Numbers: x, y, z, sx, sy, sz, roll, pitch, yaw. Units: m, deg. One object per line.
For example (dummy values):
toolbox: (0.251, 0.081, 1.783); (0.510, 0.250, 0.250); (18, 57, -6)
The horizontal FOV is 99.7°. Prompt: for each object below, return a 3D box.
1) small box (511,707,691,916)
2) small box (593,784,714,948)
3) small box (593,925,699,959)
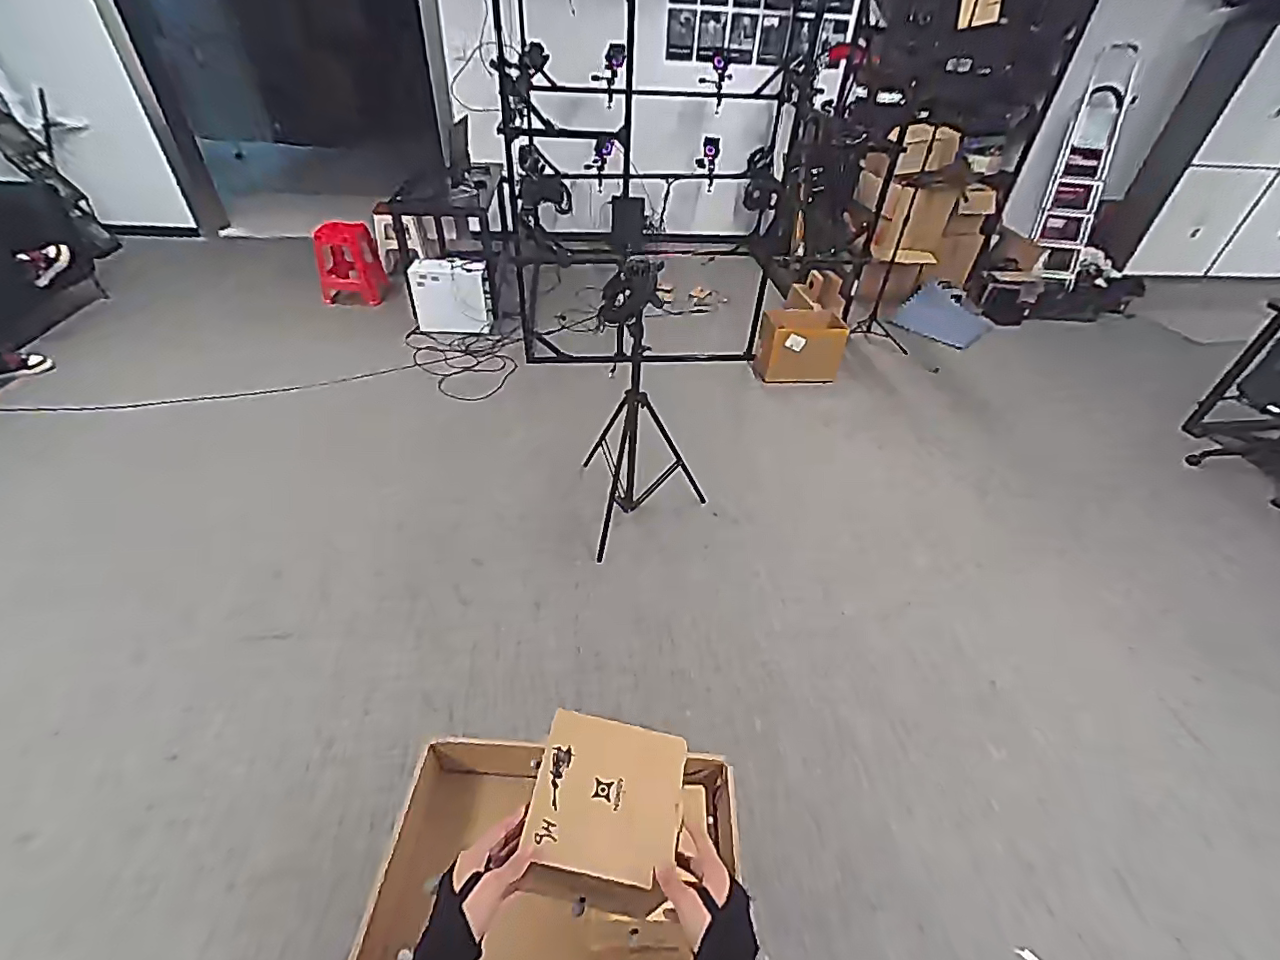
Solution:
small box: (-0.049, 0.415, 0.673); (0.179, 0.176, 0.168); (15, 42, -1)
small box: (0.018, 0.594, 0.834); (0.168, 0.176, 0.179); (3, 39, -1)
small box: (0.009, 0.720, 0.936); (0.168, 0.176, 0.179); (2, 39, -2)
